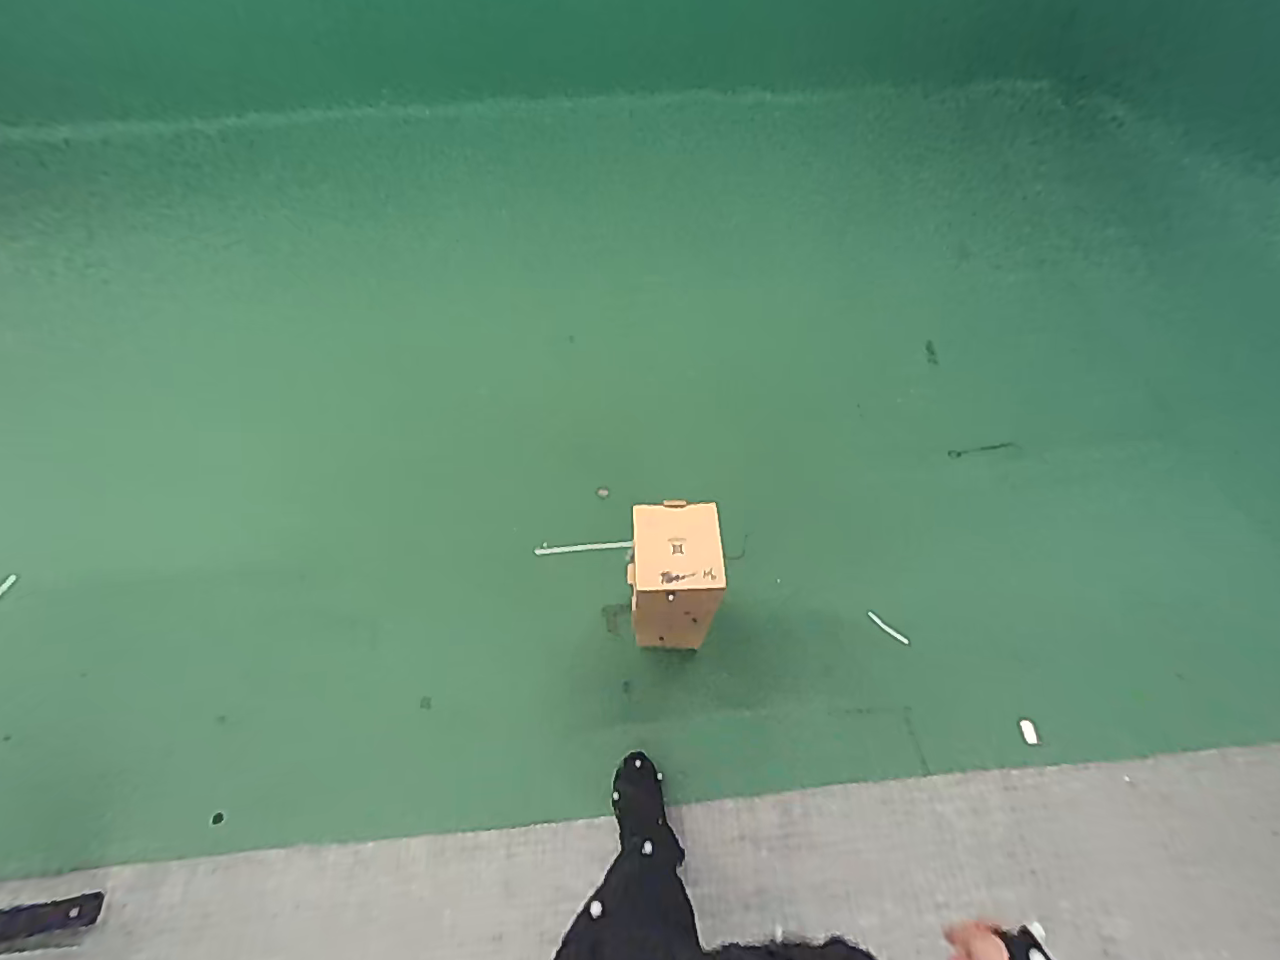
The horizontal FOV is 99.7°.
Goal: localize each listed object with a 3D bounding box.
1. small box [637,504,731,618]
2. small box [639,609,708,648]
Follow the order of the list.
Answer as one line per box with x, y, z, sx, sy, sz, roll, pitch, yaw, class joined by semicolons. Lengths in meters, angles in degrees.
0.079;0.164;1.078;0.168;0.176;0.179;-1;59;-2;small box
0.084;0.319;1.368;0.168;0.176;0.179;2;60;1;small box
